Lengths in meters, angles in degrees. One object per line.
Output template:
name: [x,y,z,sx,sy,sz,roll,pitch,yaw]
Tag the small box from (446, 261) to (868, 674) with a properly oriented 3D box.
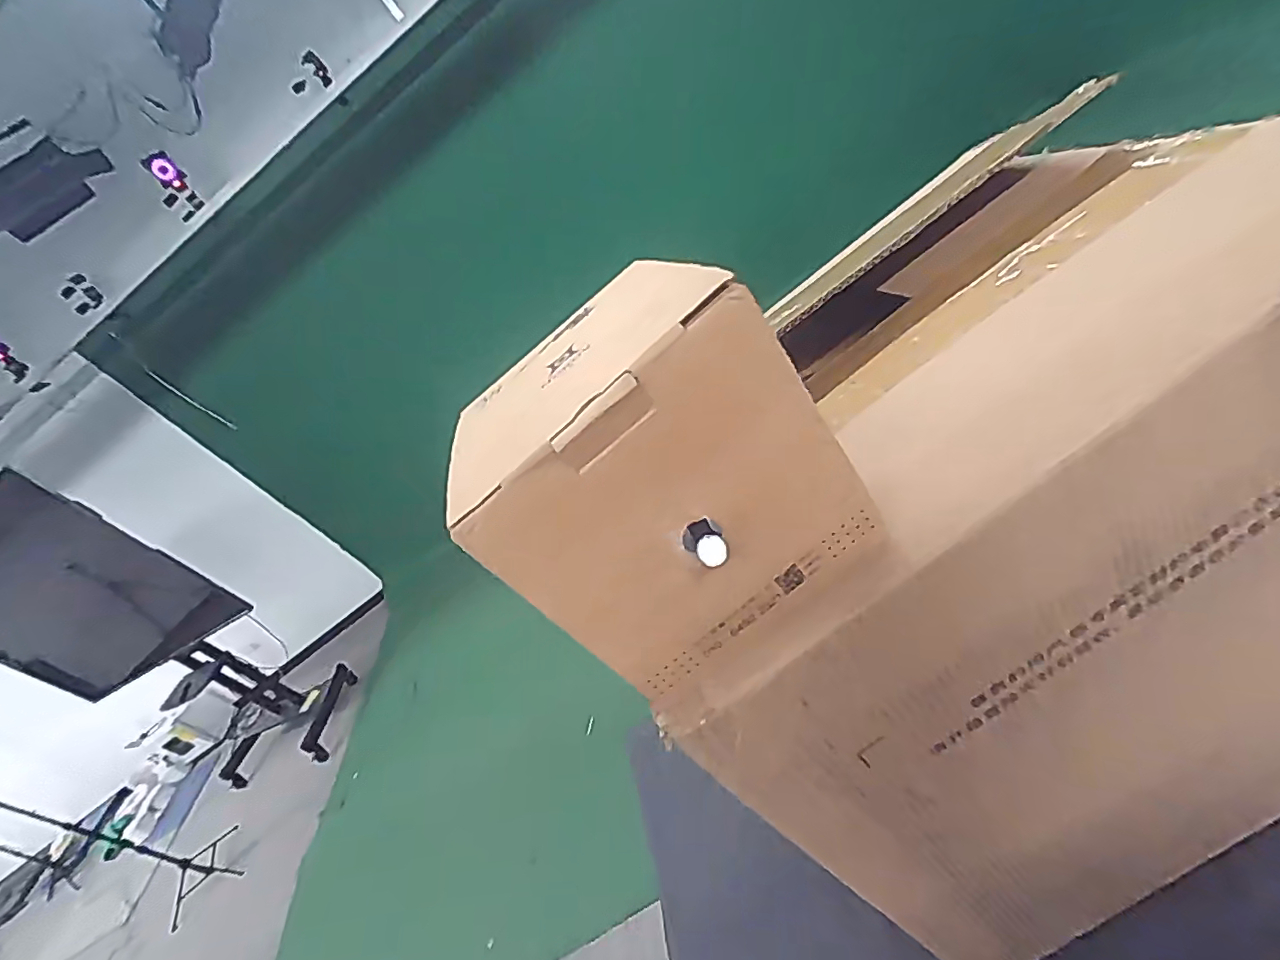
small box: [0.005,-0.008,0.338,0.168,0.176,0.179,-39,29,4]
